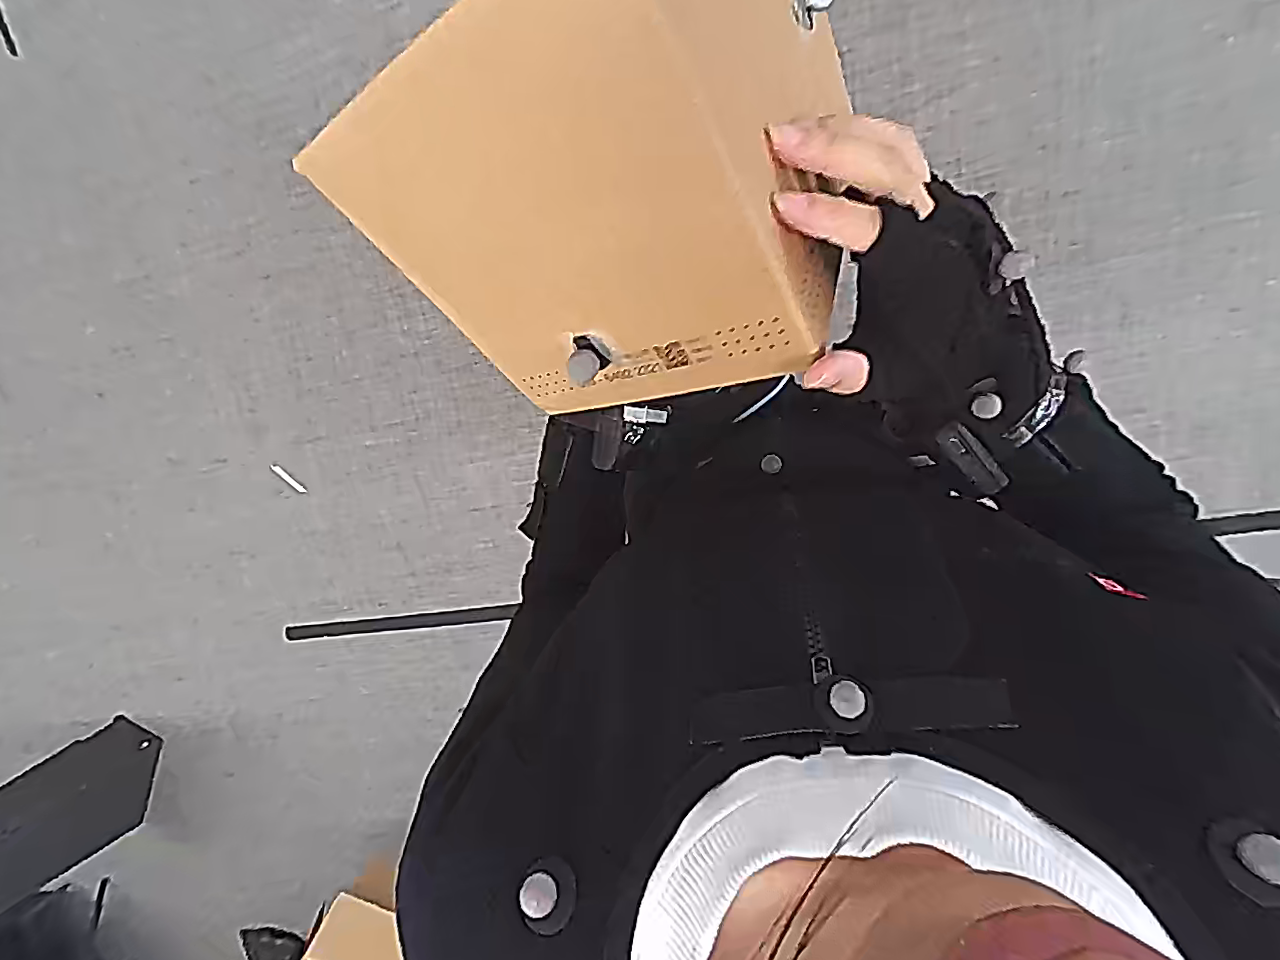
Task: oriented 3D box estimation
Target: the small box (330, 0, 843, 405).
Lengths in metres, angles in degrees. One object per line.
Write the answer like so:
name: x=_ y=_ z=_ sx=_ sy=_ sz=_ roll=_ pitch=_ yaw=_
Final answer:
small box: x=-0.004 y=-0.165 z=0.281 sx=0.168 sy=0.179 sz=0.176 roll=-5 pitch=143 yaw=37
